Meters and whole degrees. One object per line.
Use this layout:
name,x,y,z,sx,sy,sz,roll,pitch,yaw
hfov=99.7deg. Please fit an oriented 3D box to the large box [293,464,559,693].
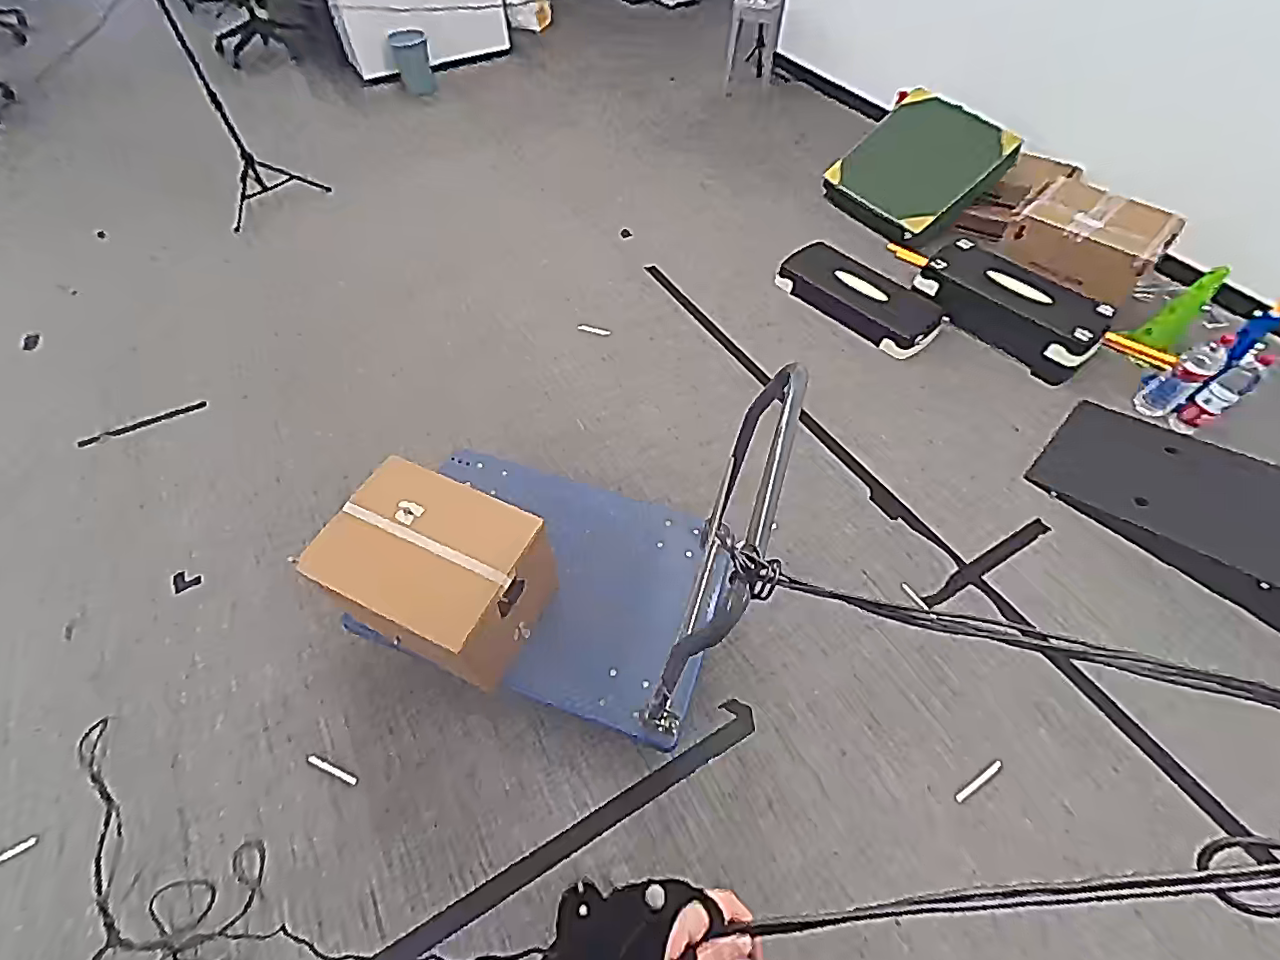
large box,-0.442,0.224,1.217,0.408,0.320,0.320,21,57,14
